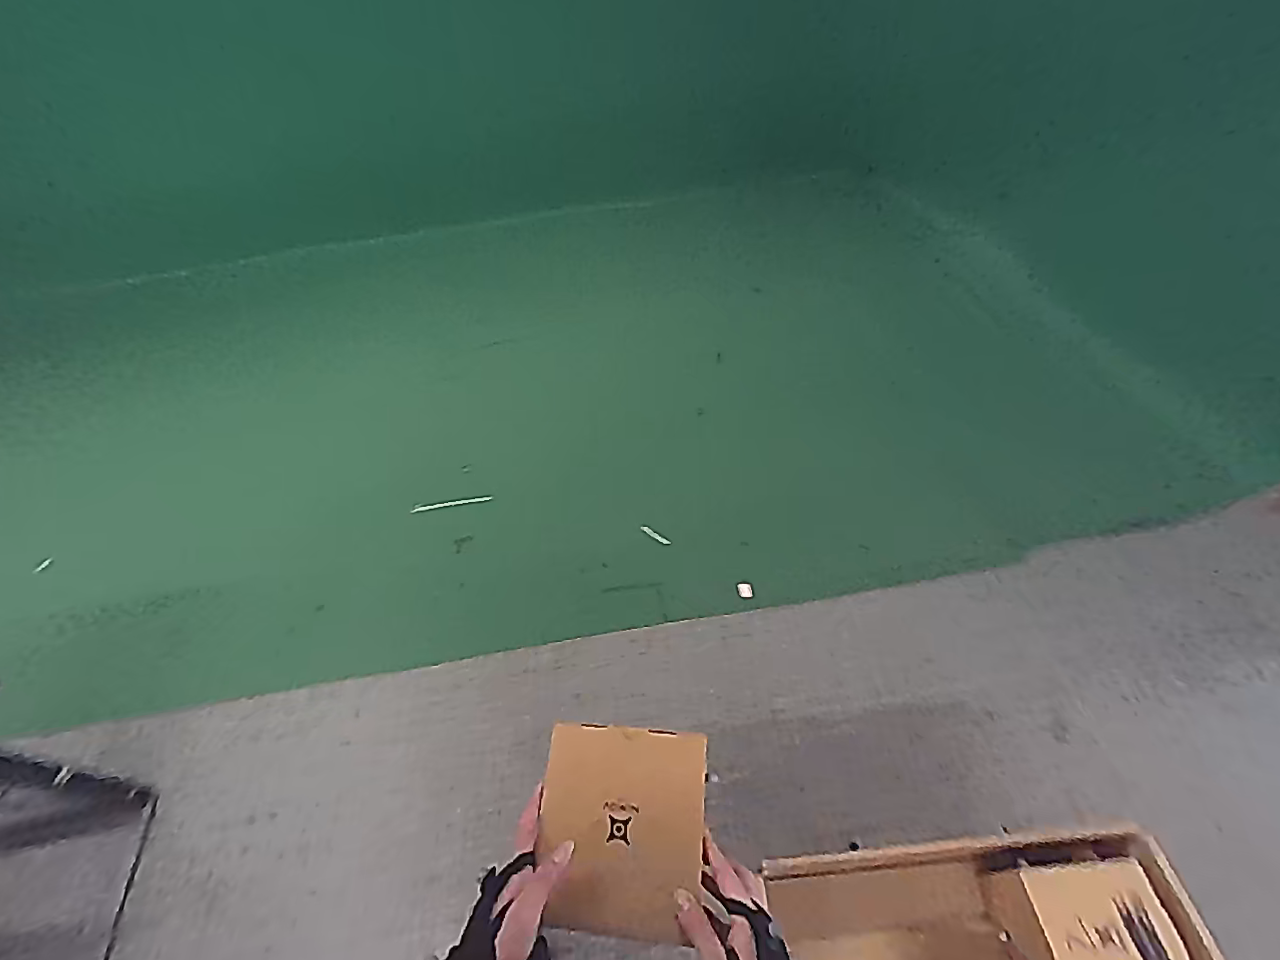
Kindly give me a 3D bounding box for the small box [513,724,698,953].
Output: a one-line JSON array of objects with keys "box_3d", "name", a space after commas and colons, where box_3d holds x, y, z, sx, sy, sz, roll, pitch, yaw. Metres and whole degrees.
[{"box_3d": [-0.022, 0.376, 0.593, 0.168, 0.176, 0.179, 1, 60, 7], "name": "small box"}]
